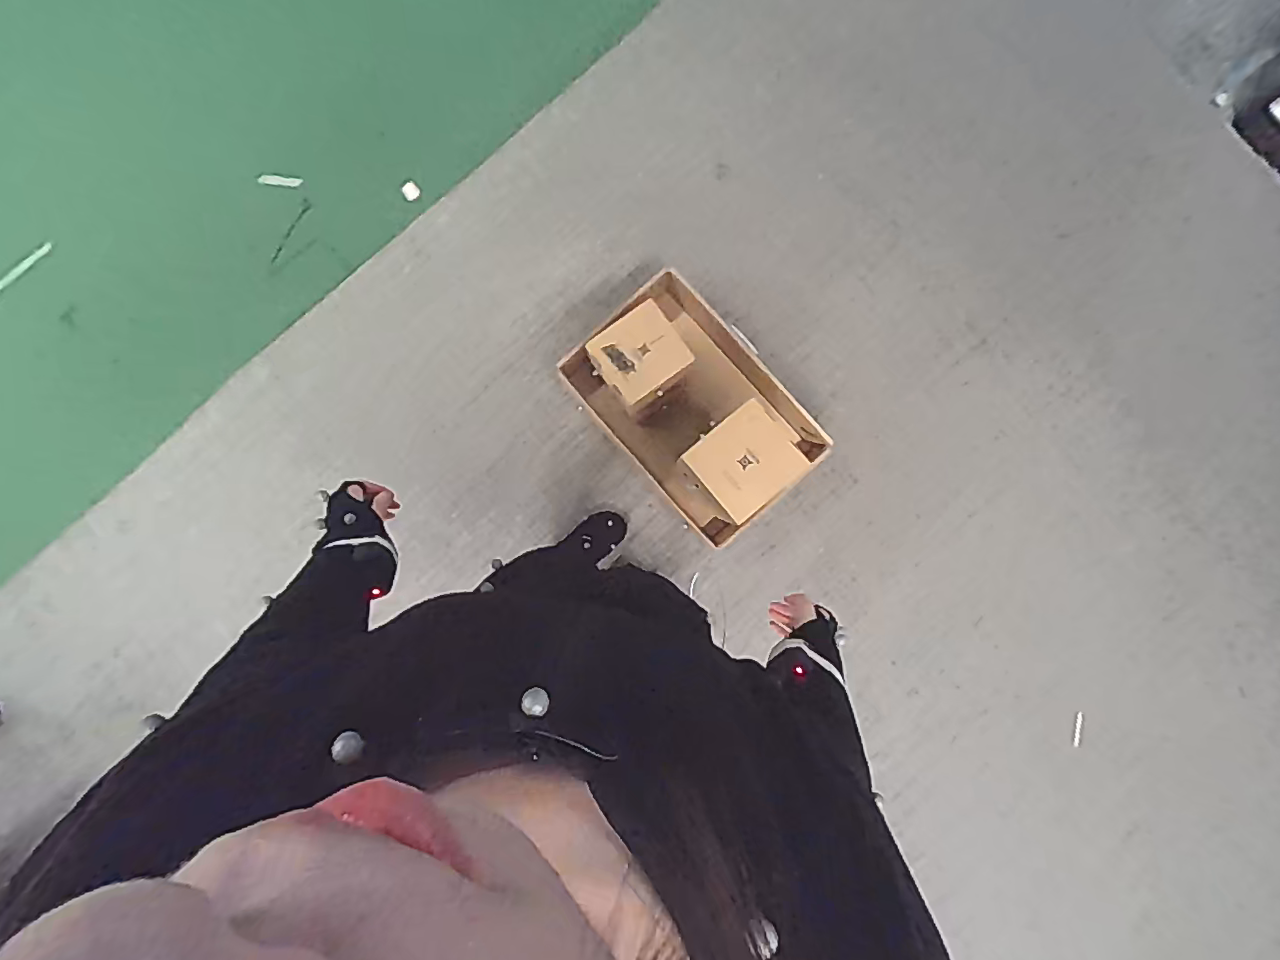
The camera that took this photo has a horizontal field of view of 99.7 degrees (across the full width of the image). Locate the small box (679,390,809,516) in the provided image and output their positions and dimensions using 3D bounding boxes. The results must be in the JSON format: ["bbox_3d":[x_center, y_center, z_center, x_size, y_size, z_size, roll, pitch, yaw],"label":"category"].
[{"bbox_3d":[0.191,-0.049,1.058,0.179,0.176,0.168,-38,89,0],"label":"small box"}]

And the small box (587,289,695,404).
[{"bbox_3d":[0.003,-0.290,1.221,0.179,0.176,0.168,-35,90,-1],"label":"small box"}]
